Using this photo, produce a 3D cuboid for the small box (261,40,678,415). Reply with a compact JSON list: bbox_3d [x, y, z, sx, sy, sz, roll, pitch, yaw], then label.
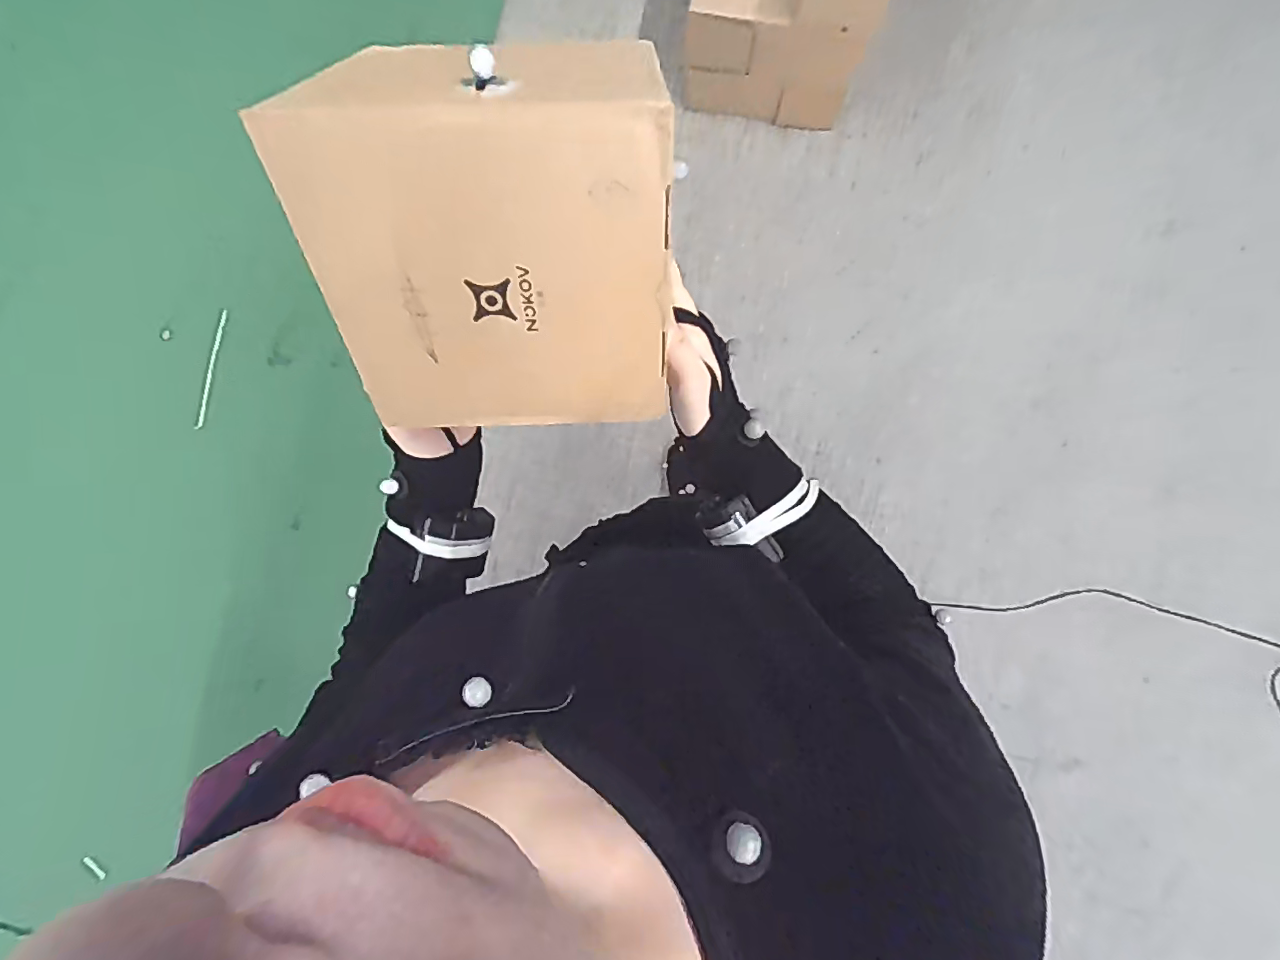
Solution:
[{"bbox_3d":[-0.075,-0.157,0.336,0.179,0.168,0.176,-1,46,-2],"label":"small box"}]
